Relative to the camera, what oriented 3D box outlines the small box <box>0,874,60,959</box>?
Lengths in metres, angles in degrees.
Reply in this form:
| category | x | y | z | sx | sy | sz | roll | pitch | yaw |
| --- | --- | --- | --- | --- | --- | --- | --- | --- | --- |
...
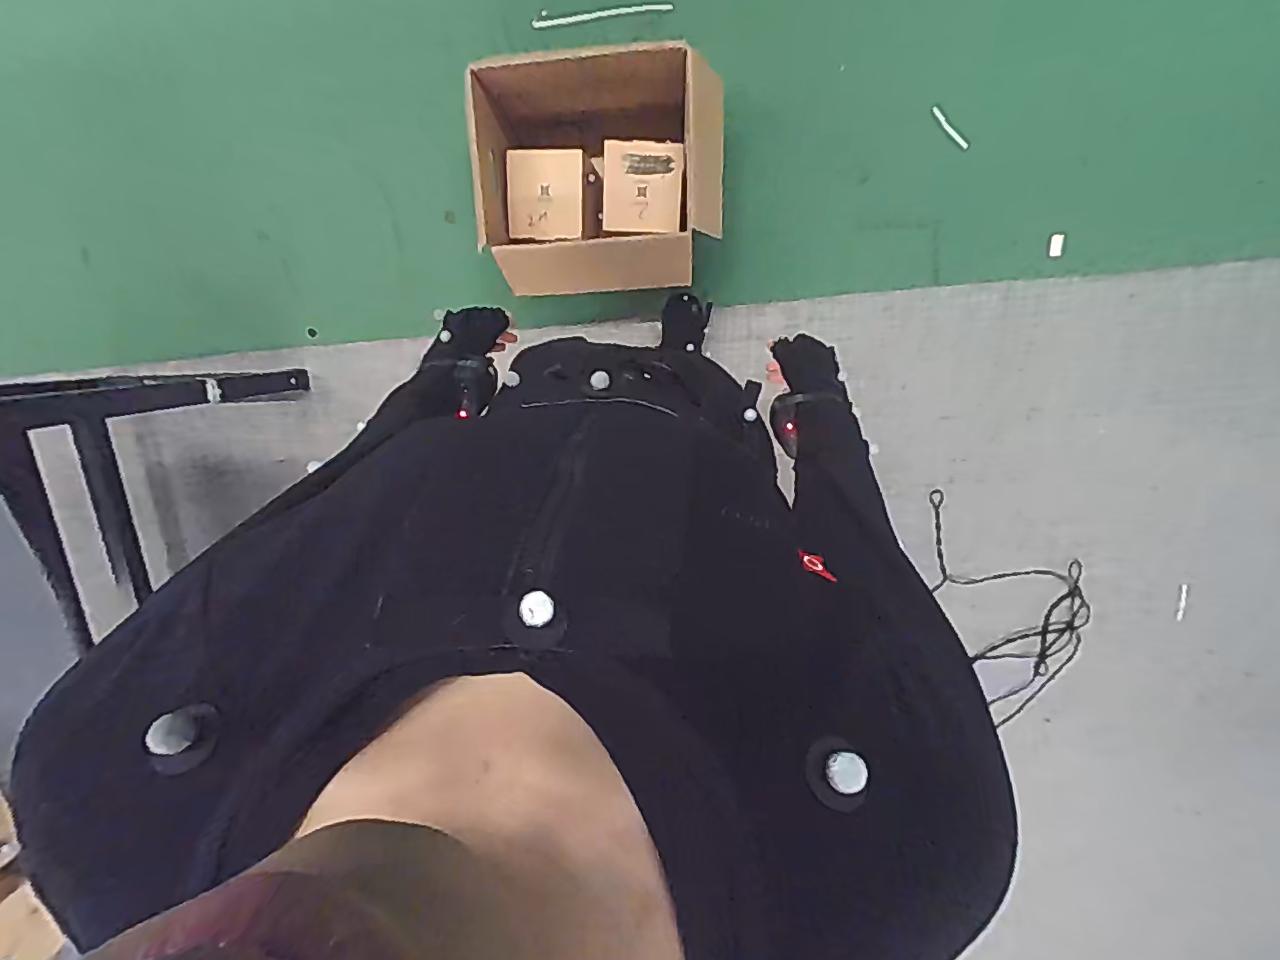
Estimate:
| category | x | y | z | sx | sy | sz | roll | pitch | yaw |
| --- | --- | --- | --- | --- | --- | --- | --- | --- | --- |
| small box | -1.178 | 0.820 | 0.937 | 0.179 | 0.176 | 0.168 | -3 | 105 | 5 |

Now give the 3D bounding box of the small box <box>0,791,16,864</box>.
| category | x | y | z | sx | sy | sz | roll | pitch | yaw |
| --- | --- | --- | --- | --- | --- | --- | --- | --- | --- |
| small box | -1.194 | 0.605 | 0.879 | 0.179 | 0.176 | 0.168 | -3 | 105 | 5 |
